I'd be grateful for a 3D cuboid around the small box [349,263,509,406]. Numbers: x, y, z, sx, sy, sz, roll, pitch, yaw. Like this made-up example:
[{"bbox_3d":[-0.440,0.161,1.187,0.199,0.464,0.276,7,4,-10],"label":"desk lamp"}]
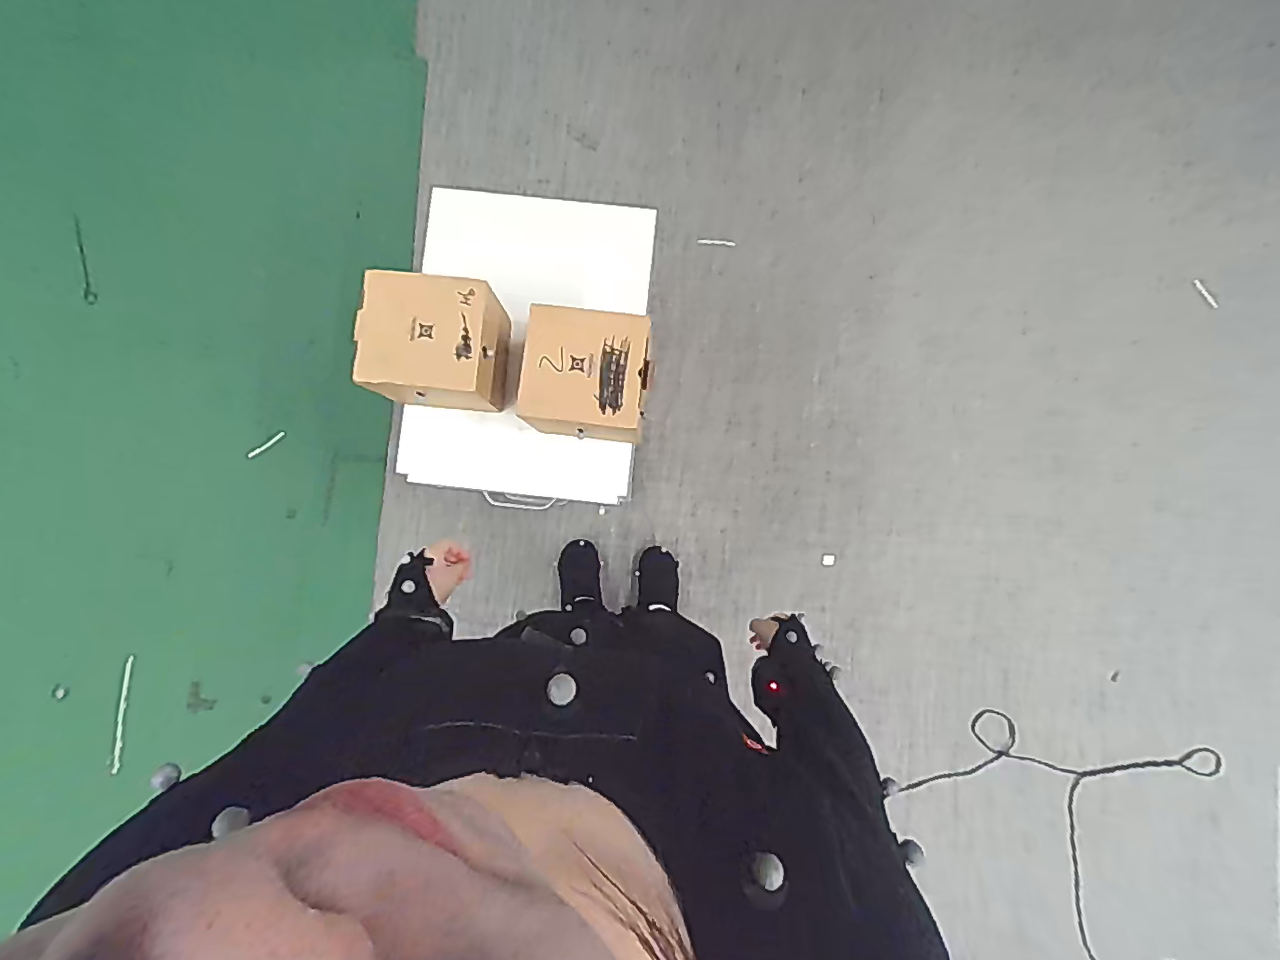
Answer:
[{"bbox_3d":[-0.316,-0.216,0.843,0.179,0.176,0.168,5,87,-1],"label":"small box"}]
